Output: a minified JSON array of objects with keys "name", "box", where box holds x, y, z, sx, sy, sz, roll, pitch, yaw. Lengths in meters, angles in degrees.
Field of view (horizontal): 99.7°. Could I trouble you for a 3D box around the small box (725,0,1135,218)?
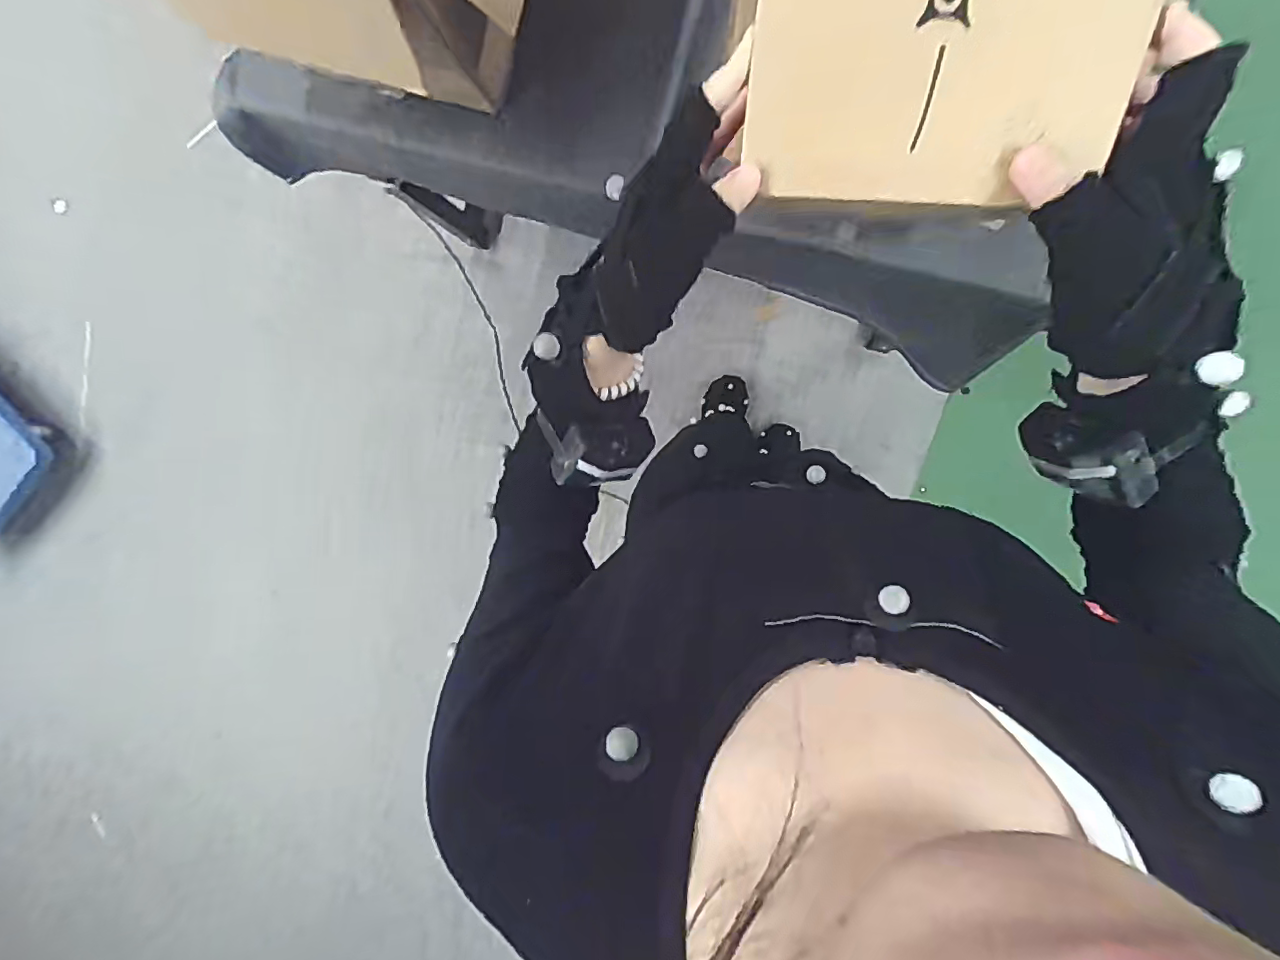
[{"name":"small box","box":[0.140,-0.254,0.305,0.168,0.176,0.179,7,114,6]}]
